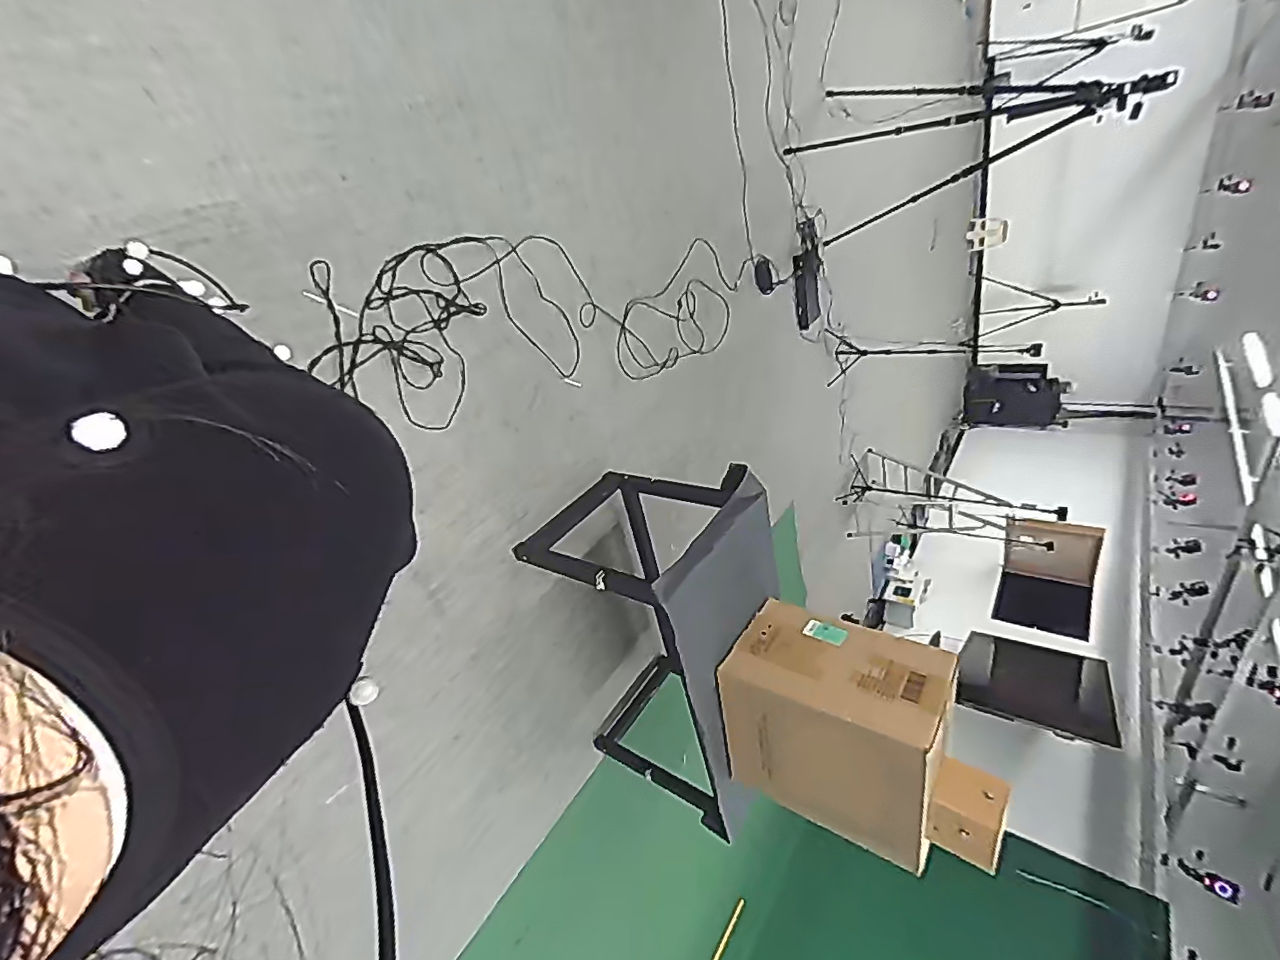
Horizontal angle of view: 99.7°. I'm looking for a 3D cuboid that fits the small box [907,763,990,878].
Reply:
[{"bbox_3d":[0.866,0.948,1.522,0.179,0.176,0.168,-29,120,-44],"label":"small box"}]
